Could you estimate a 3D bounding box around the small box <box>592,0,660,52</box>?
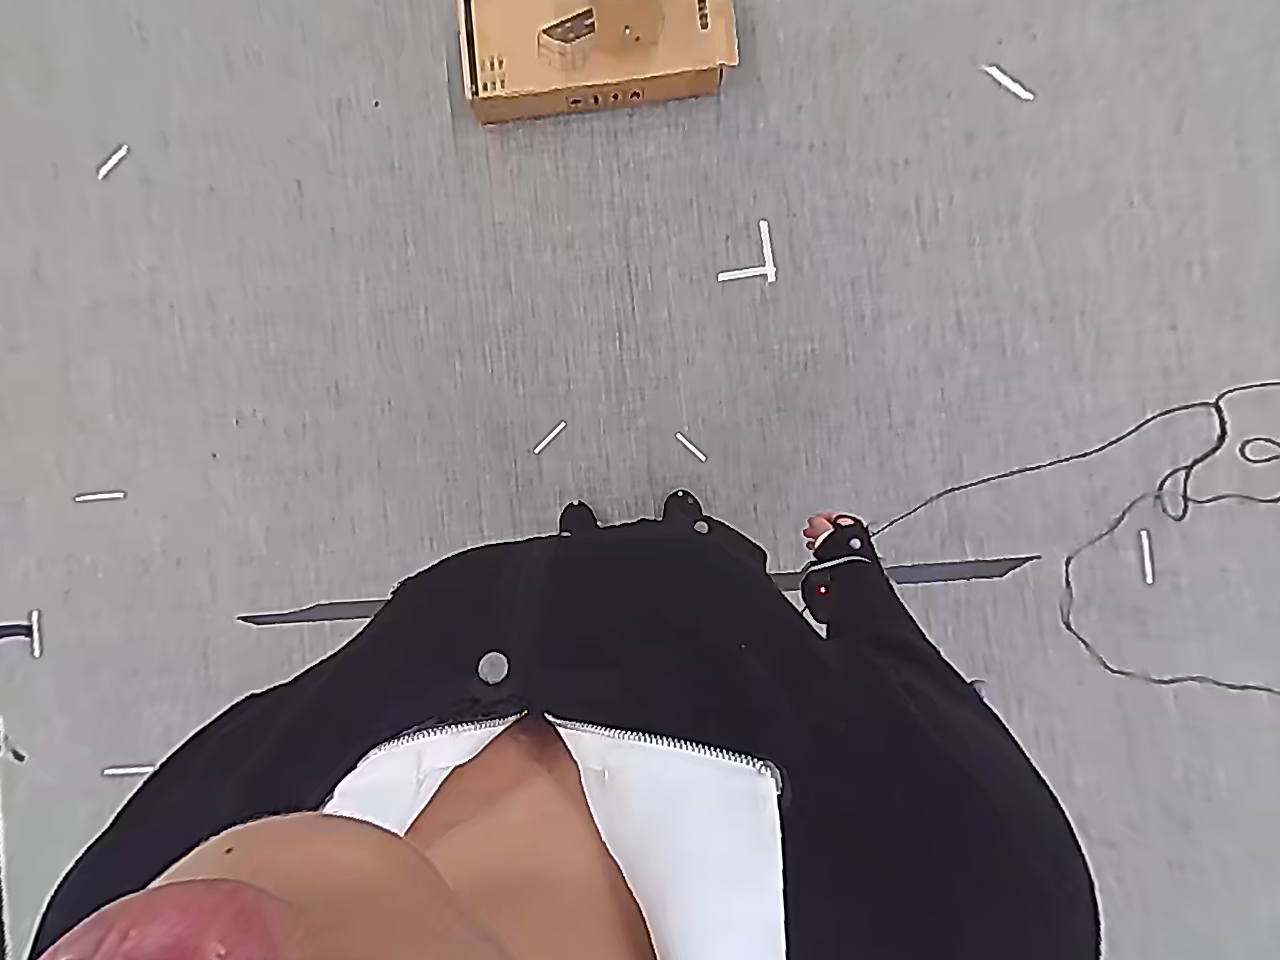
[{"bbox_3d":[-0.040,-1.238,1.363,0.168,0.176,0.179,-6,87,4],"label":"small box"}]
